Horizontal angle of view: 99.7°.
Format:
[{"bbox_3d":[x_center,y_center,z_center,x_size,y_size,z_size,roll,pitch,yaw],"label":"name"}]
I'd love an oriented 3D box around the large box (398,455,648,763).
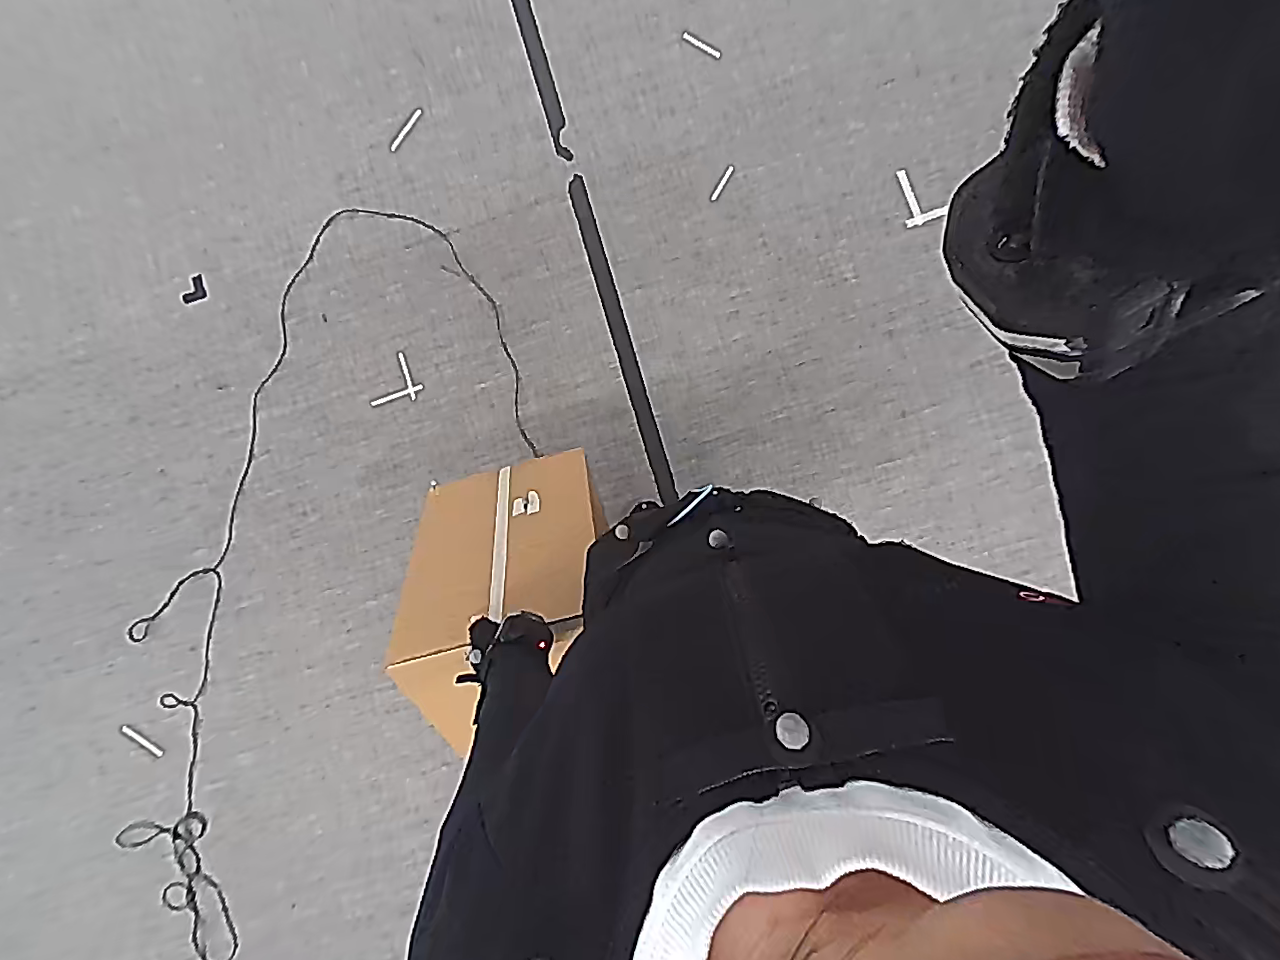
[{"bbox_3d":[-0.192,0.219,0.989,0.320,0.408,0.320,-14,127,-1],"label":"large box"}]
